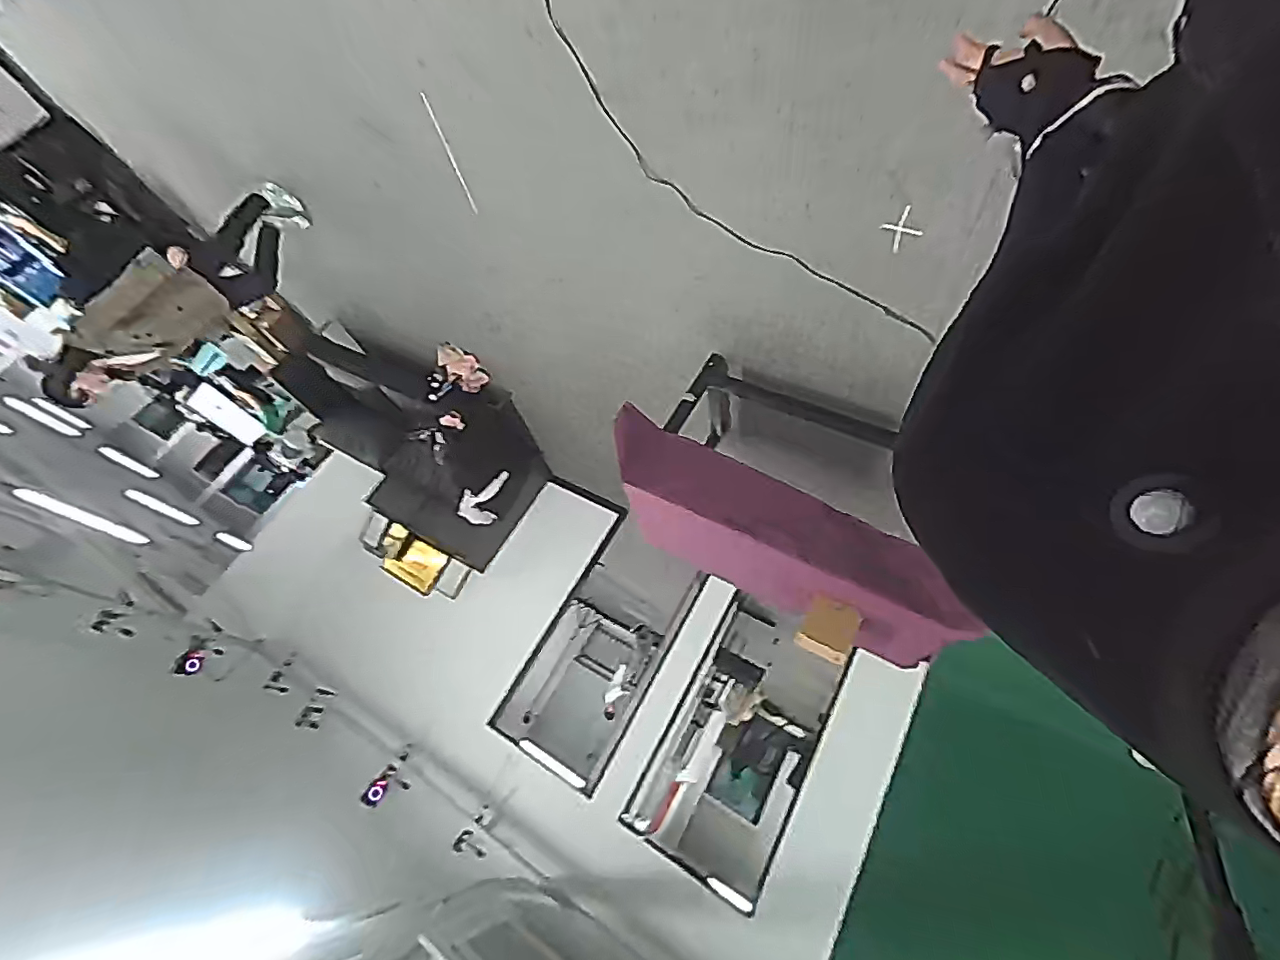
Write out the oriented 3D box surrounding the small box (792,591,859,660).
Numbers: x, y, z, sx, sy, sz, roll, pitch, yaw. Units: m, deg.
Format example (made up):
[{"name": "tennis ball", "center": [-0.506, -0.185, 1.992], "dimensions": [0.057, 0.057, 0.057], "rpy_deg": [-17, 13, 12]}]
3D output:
[{"name": "small box", "center": [0.676, 0.525, 1.982], "dimensions": [0.179, 0.176, 0.168], "rpy_deg": [24, 158, 24]}]
